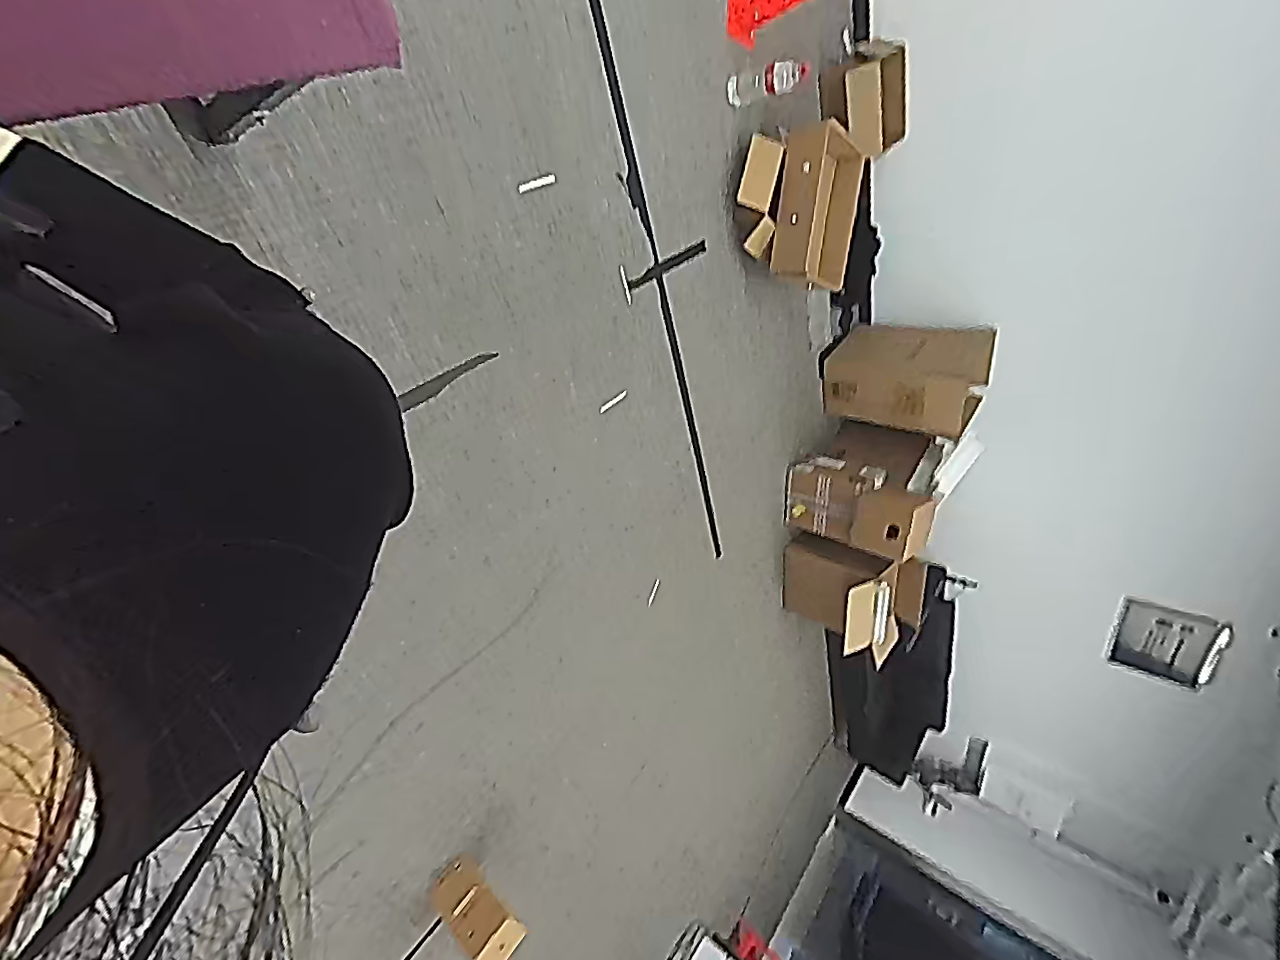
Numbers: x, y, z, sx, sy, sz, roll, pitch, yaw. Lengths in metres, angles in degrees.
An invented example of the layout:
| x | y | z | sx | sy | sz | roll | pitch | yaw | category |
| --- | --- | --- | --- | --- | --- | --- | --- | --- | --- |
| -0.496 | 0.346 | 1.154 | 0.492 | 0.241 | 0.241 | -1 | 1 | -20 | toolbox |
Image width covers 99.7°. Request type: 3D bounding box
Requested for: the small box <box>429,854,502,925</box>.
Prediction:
| x | y | z | sx | sy | sz | roll | pitch | yaw | category |
| --- | --- | --- | --- | --- | --- | --- | --- | --- | --- |
| -0.662 | 1.564 | 2.041 | 0.168 | 0.176 | 0.179 | -43 | 132 | -31 | small box |

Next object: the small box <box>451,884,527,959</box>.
| x | y | z | sx | sy | sz | roll | pitch | yaw | category |
| --- | --- | --- | --- | --- | --- | --- | --- | --- | --- |
| -0.544 | 1.601 | 1.936 | 0.168 | 0.176 | 0.179 | -43 | 132 | -30 | small box |
